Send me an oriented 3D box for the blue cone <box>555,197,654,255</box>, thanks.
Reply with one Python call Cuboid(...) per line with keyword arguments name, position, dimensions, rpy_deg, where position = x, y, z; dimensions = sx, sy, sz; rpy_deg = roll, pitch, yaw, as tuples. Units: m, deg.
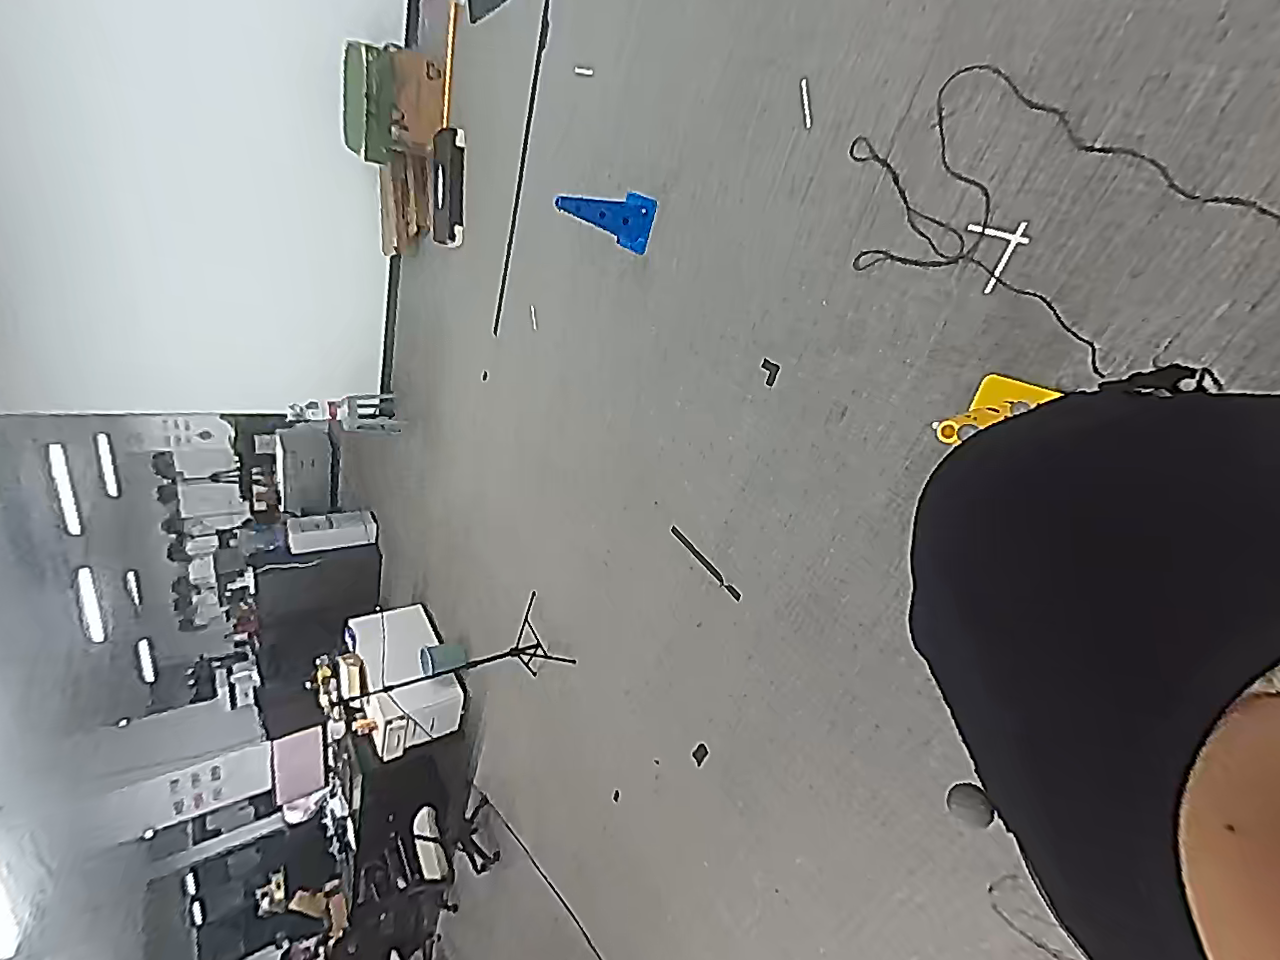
Cuboid(name="blue cone", position=(-0.145, -0.989, 2.033), dimensions=(0.193, 0.380, 0.192), rpy_deg=(45, 128, 39))
